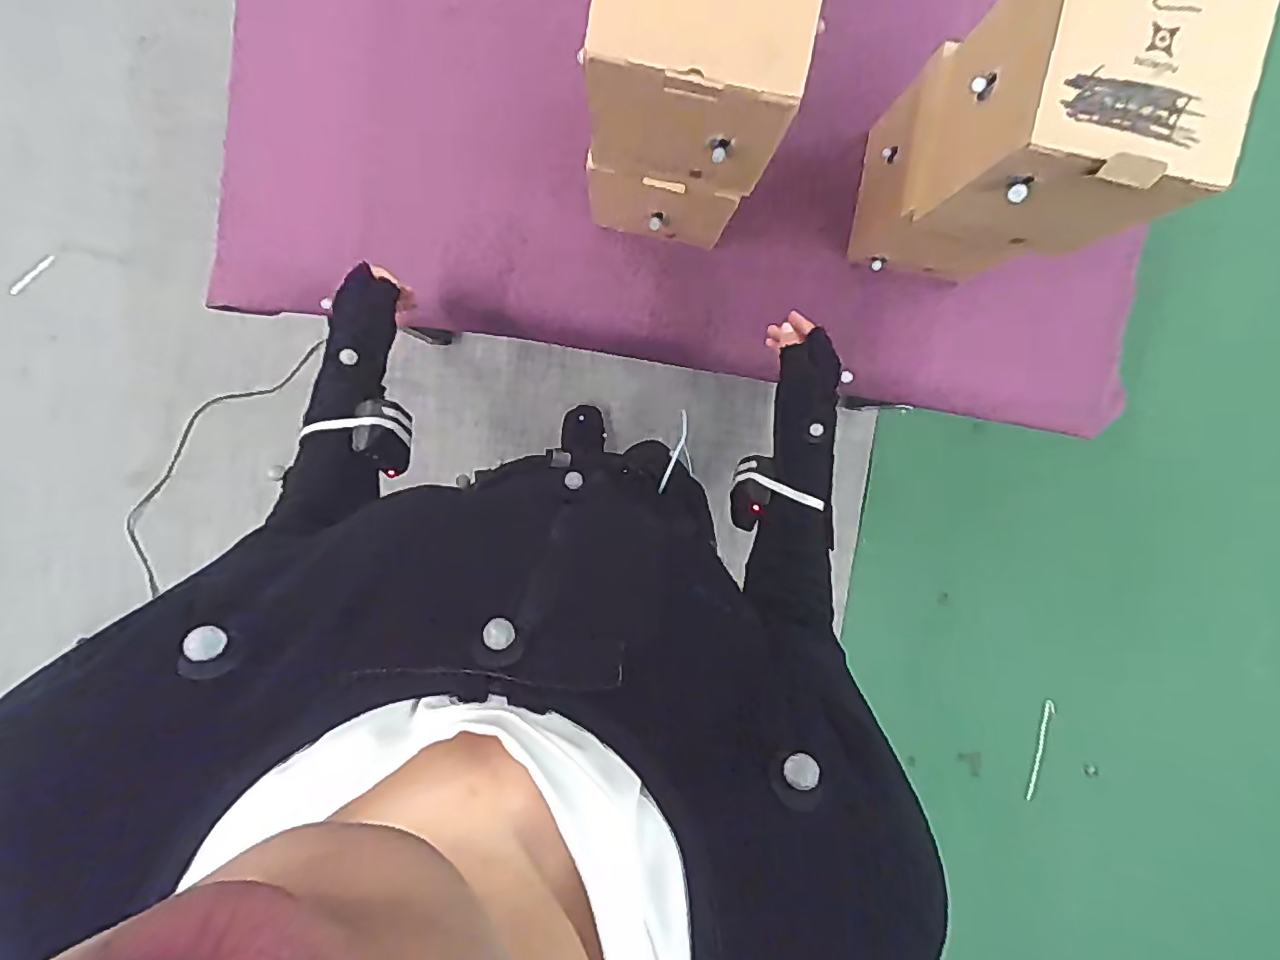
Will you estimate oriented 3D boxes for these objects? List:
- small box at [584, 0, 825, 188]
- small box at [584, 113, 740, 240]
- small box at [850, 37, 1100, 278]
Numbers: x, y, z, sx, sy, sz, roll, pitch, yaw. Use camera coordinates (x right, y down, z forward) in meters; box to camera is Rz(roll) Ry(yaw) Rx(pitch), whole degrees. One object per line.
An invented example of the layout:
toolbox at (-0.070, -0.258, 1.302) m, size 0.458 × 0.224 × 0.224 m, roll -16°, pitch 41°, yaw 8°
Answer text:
small box at (0.053, -0.381, 0.459) m, size 0.168 × 0.176 × 0.179 m, roll 11°, pitch 96°, yaw -5°
small box at (0.037, -0.399, 0.621) m, size 0.168 × 0.176 × 0.179 m, roll 11°, pitch 96°, yaw -5°
small box at (0.375, -0.358, 0.642) m, size 0.168 × 0.176 × 0.179 m, roll 12°, pitch 96°, yaw -6°
